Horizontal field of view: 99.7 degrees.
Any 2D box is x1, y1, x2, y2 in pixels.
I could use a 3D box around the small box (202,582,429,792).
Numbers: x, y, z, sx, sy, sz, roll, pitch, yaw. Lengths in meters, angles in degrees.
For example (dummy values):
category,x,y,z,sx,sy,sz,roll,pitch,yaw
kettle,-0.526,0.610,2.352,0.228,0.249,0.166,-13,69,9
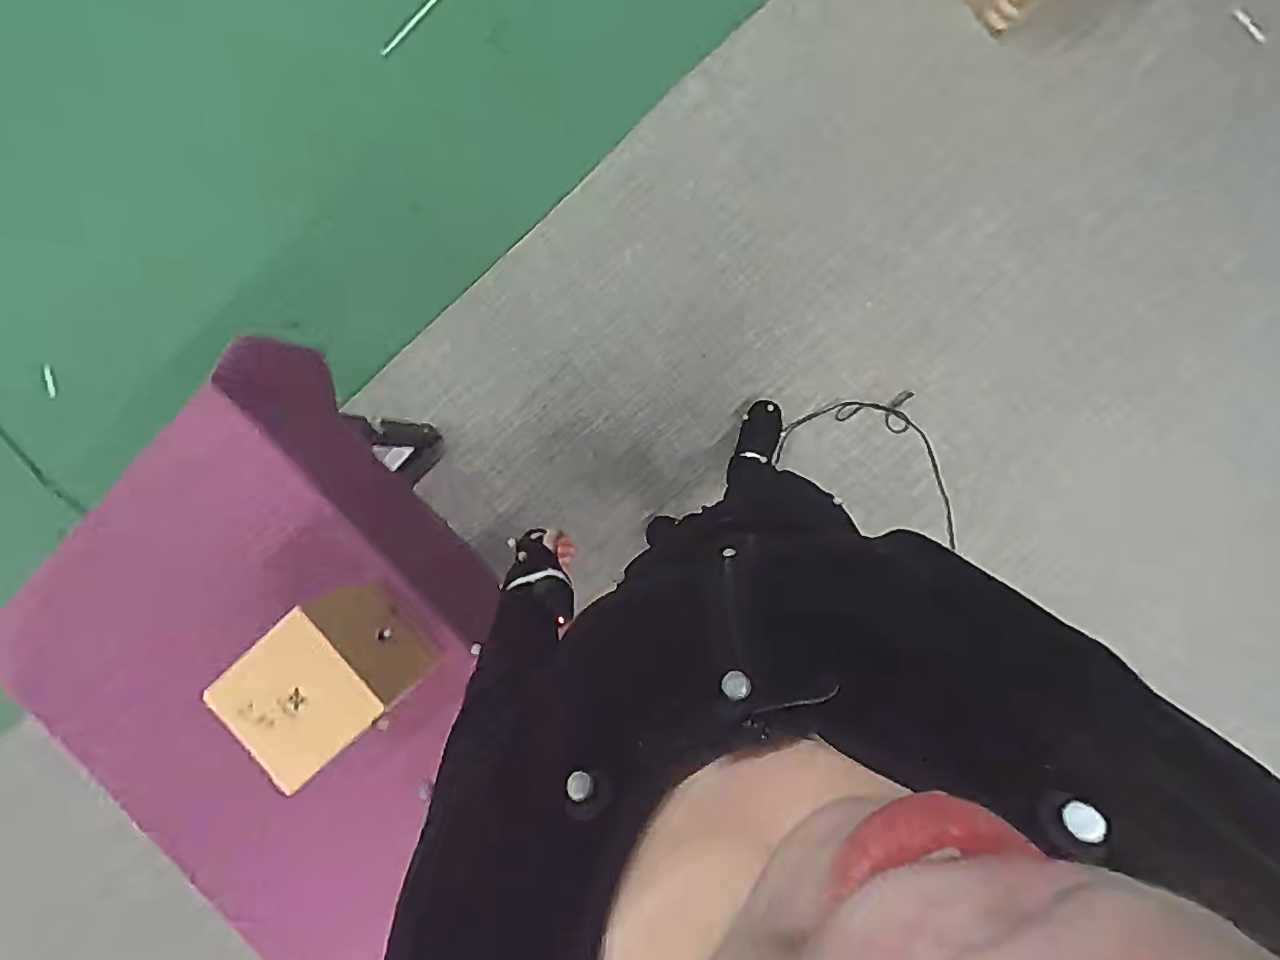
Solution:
category,x,y,z,sx,sy,sz,roll,pitch,yaw
small box,-0.418,0.264,0.736,0.179,0.176,0.168,-42,89,5
